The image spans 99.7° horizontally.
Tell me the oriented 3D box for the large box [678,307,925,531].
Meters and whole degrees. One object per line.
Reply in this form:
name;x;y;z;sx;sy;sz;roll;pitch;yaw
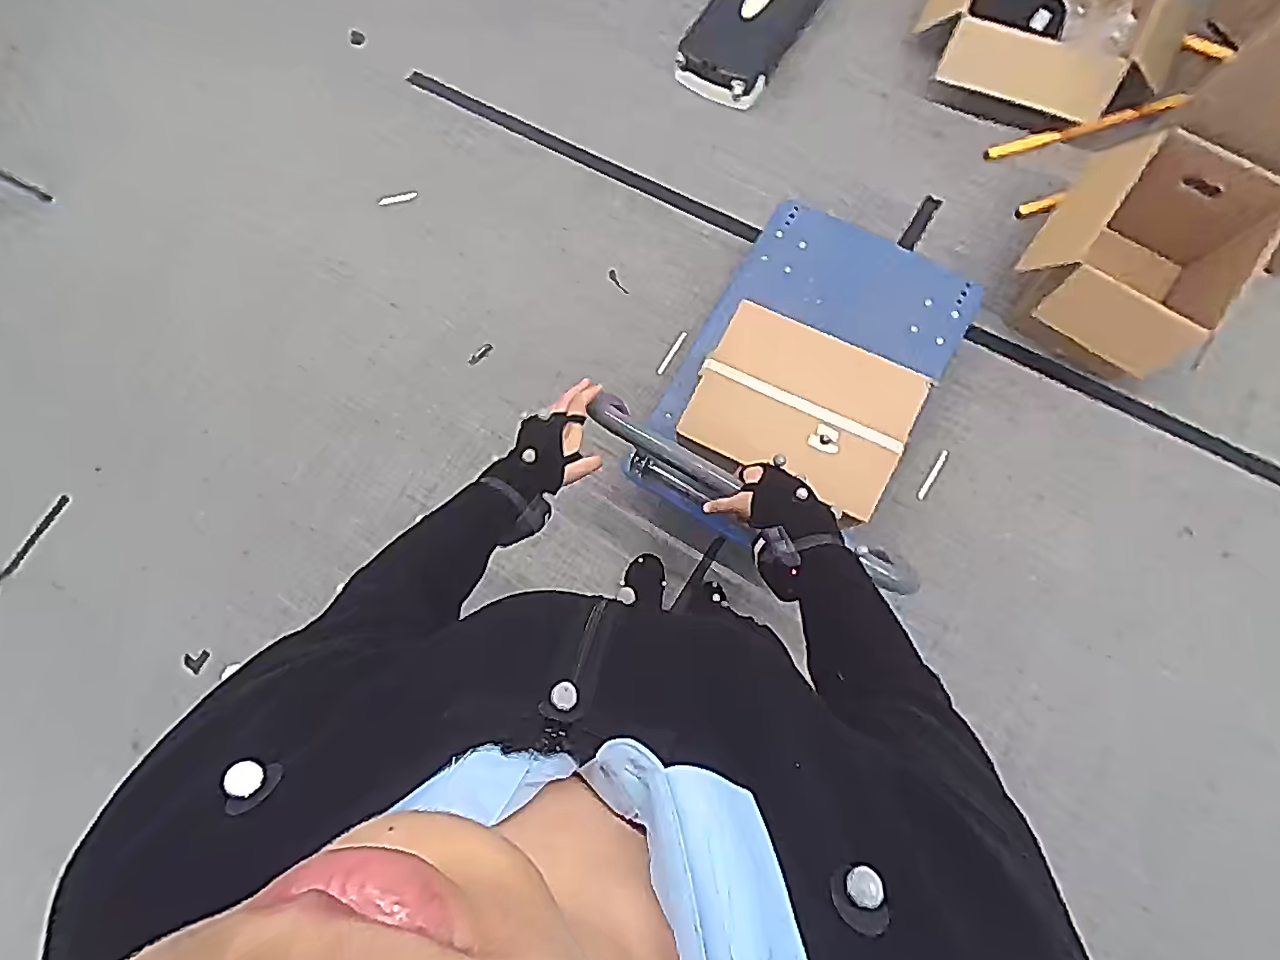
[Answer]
large box;0.327;-0.117;1.213;0.408;0.320;0.320;27;84;8
